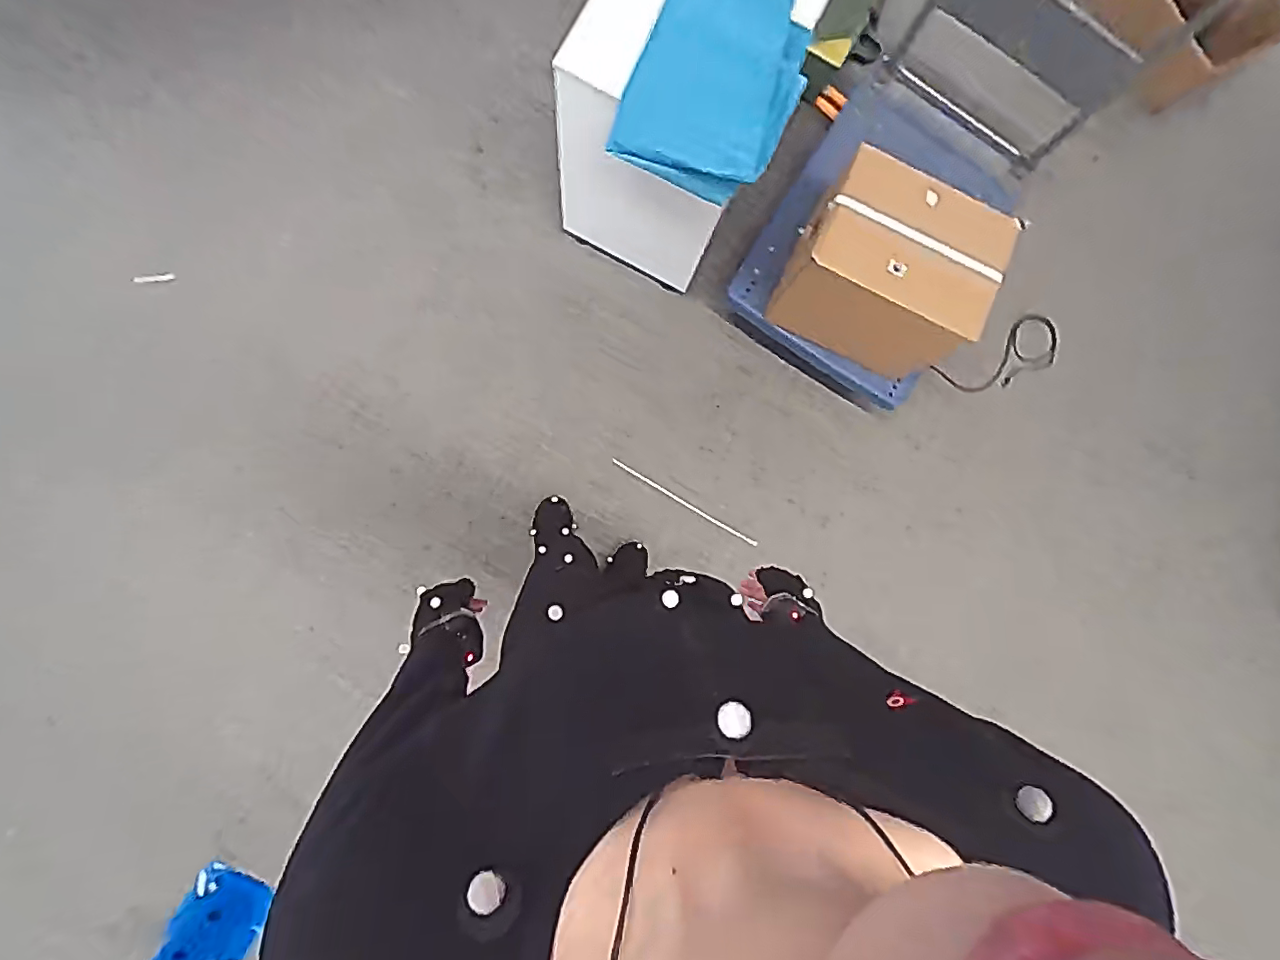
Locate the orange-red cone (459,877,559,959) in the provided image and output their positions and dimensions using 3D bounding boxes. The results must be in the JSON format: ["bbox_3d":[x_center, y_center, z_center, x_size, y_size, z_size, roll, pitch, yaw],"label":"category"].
[{"bbox_3d":[-0.317,1.132,1.209,0.198,0.360,0.199,36,83,-1],"label":"orange-red cone"}]
